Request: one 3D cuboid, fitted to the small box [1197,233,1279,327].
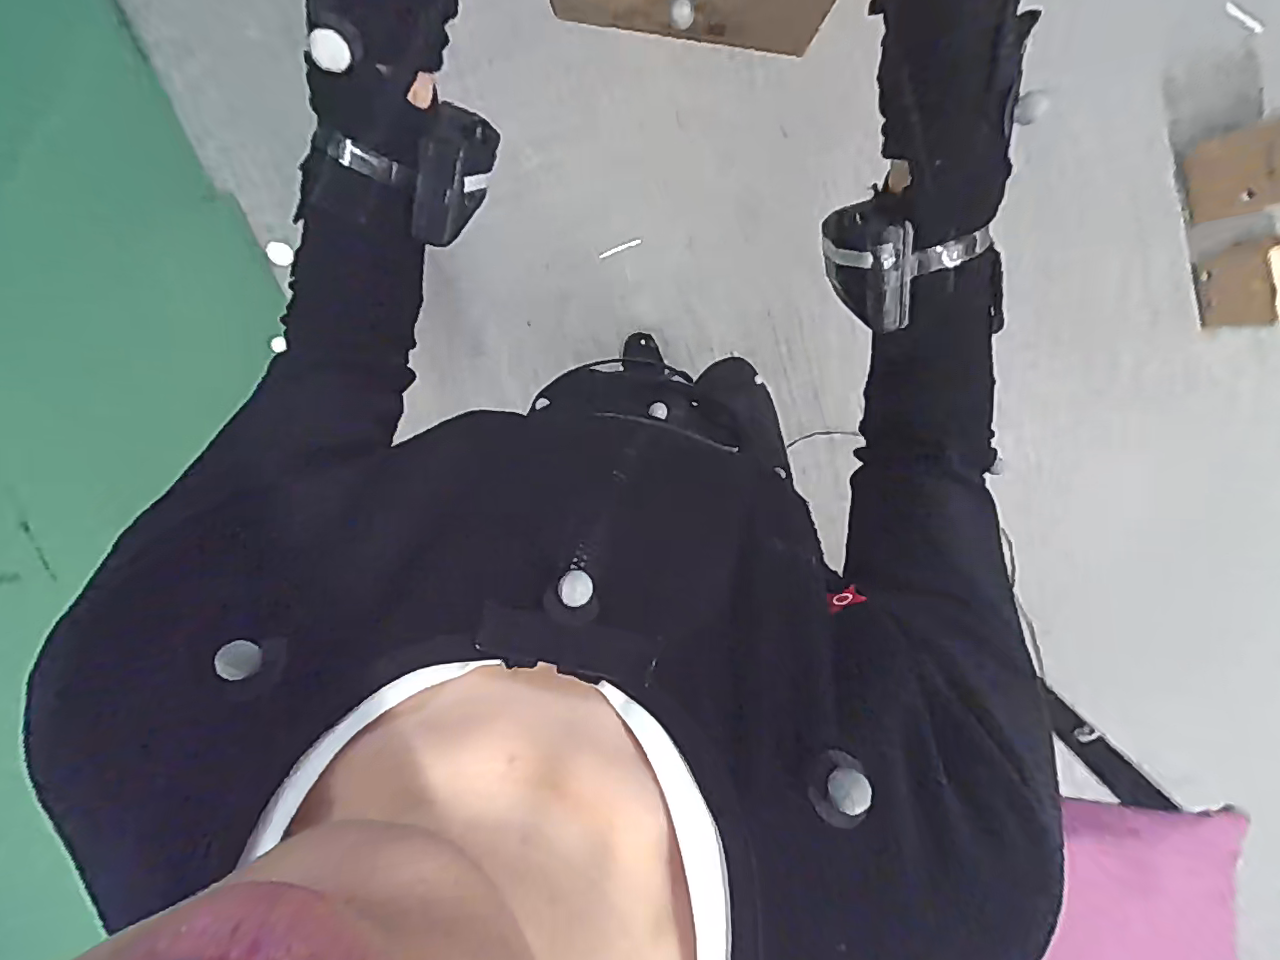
[{"bbox_3d":[1.403,-0.448,1.202,0.179,0.176,0.168,-20,102,8],"label":"small box"}]

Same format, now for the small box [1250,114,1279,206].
[{"bbox_3d":[1.308,-0.635,0.996,0.179,0.176,0.168,-19,102,7],"label":"small box"}]

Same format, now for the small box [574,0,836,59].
[{"bbox_3d":[0.042,-0.349,0.254,0.168,0.176,0.179,9,106,-2],"label":"small box"}]
